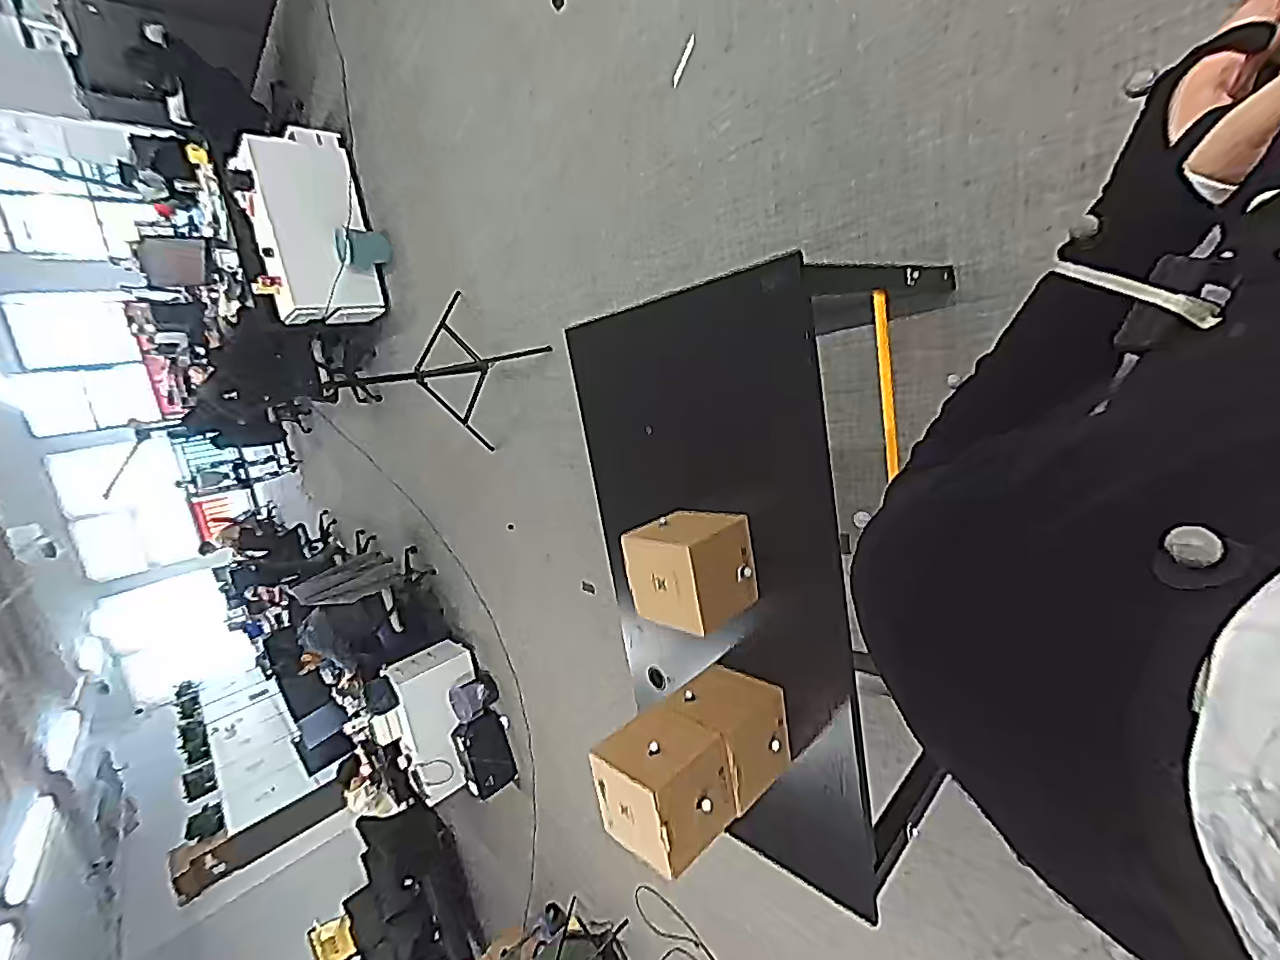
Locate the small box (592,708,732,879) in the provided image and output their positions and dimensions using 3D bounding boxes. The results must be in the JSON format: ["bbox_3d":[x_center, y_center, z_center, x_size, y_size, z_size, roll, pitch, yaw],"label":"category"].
[{"bbox_3d":[0.046,0.534,0.953,0.179,0.176,0.168,-1,103,48],"label":"small box"}]

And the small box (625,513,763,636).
[{"bbox_3d":[0.102,0.164,1.011,0.179,0.176,0.168,0,105,48],"label":"small box"}]

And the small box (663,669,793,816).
[{"bbox_3d":[0.172,0.493,1.050,0.179,0.176,0.168,4,107,48],"label":"small box"}]
